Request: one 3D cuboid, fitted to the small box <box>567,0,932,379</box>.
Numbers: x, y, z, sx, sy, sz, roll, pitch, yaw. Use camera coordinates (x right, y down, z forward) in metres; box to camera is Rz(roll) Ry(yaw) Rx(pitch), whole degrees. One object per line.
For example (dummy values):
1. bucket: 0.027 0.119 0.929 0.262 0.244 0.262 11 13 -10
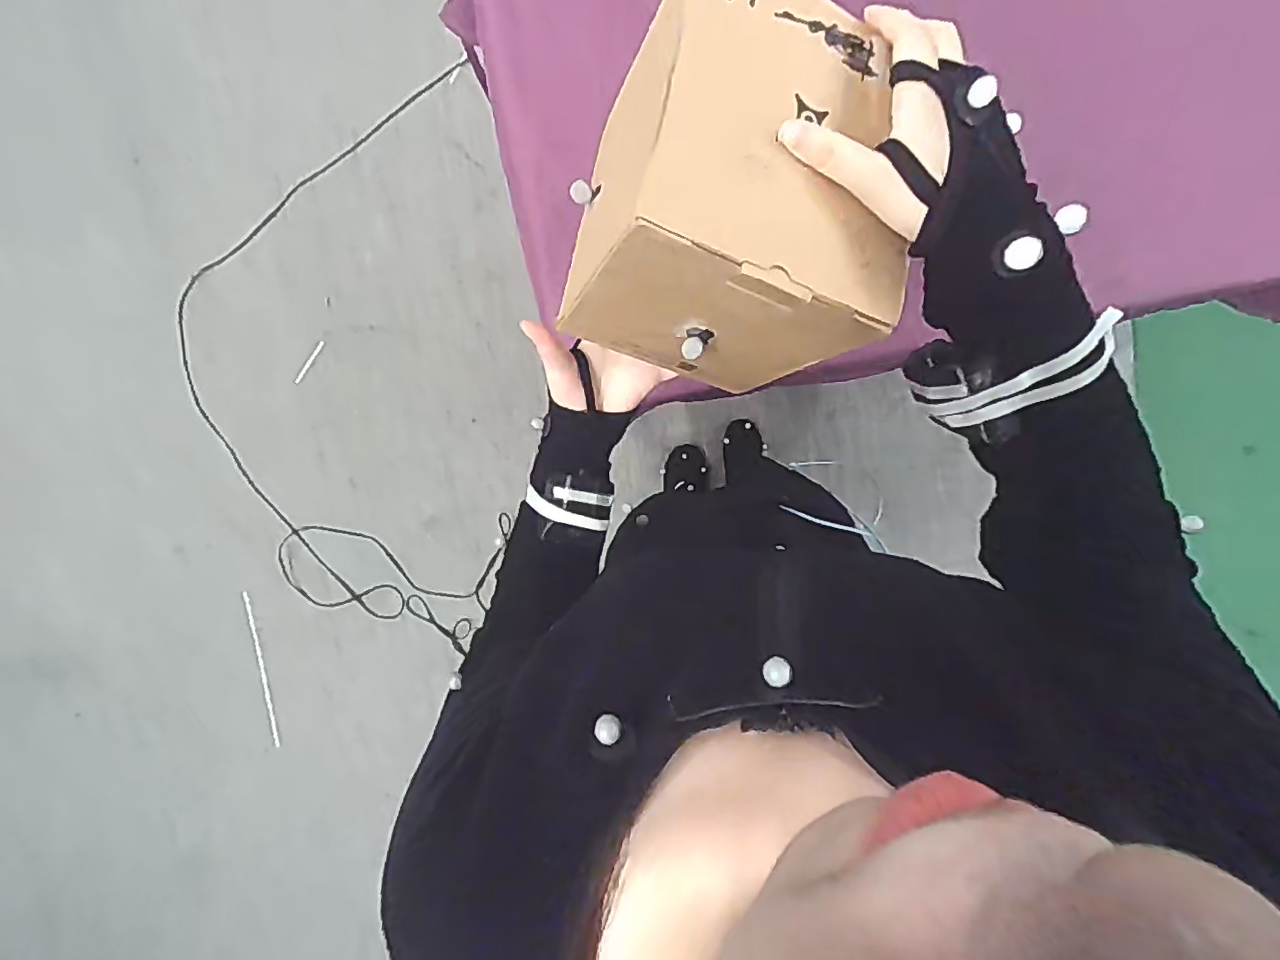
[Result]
1. small box: 0.058 -0.184 0.370 0.168 0.176 0.179 15 83 -22
